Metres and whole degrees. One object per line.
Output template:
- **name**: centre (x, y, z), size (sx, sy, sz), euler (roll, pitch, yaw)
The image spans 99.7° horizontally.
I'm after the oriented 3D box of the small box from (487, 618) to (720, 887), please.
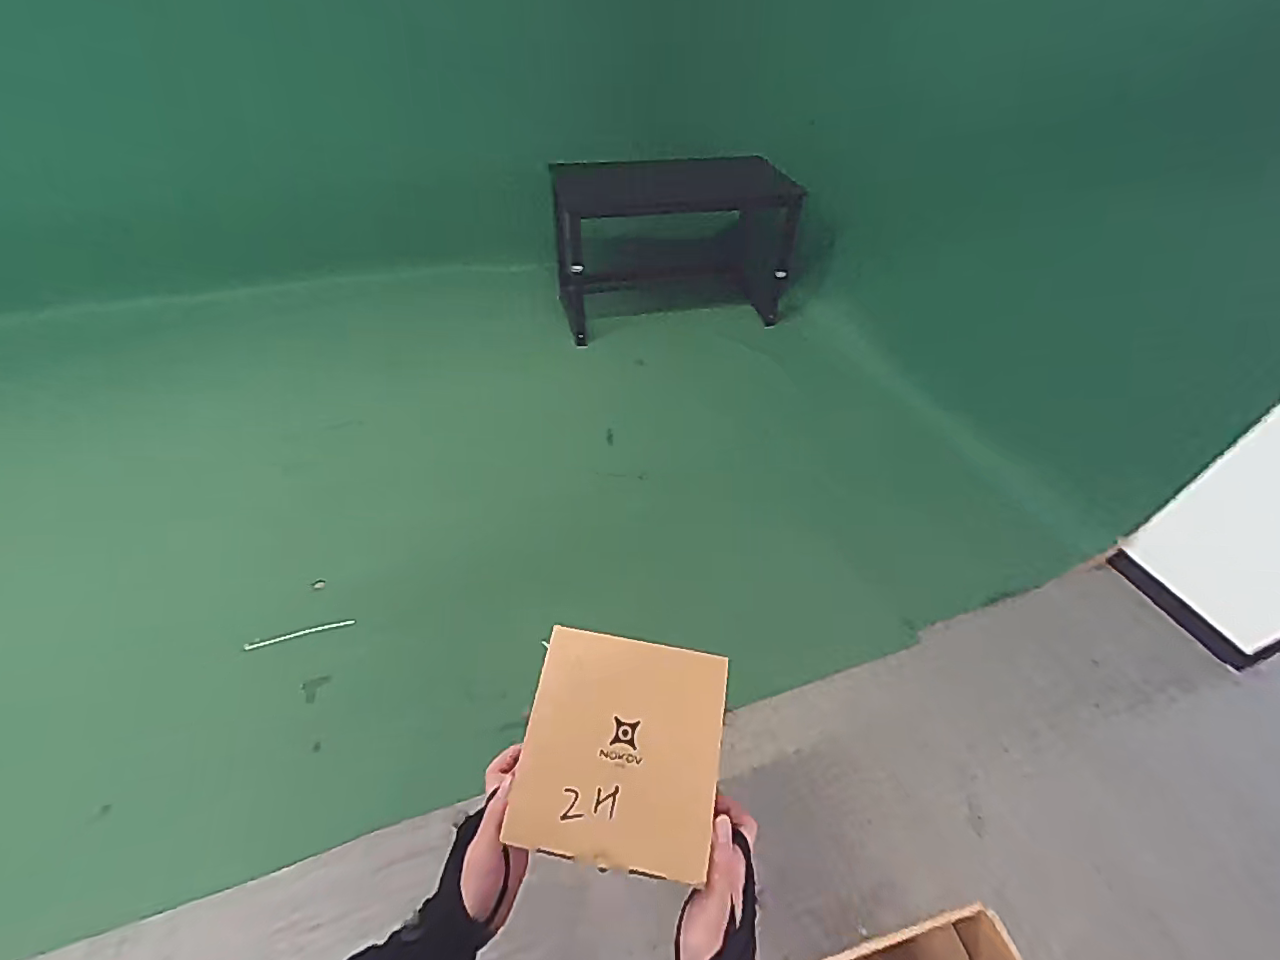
- **small box**: centre (-0.025, 0.253, 0.517), size (0.168, 0.176, 0.179), euler (9, 62, 5)
